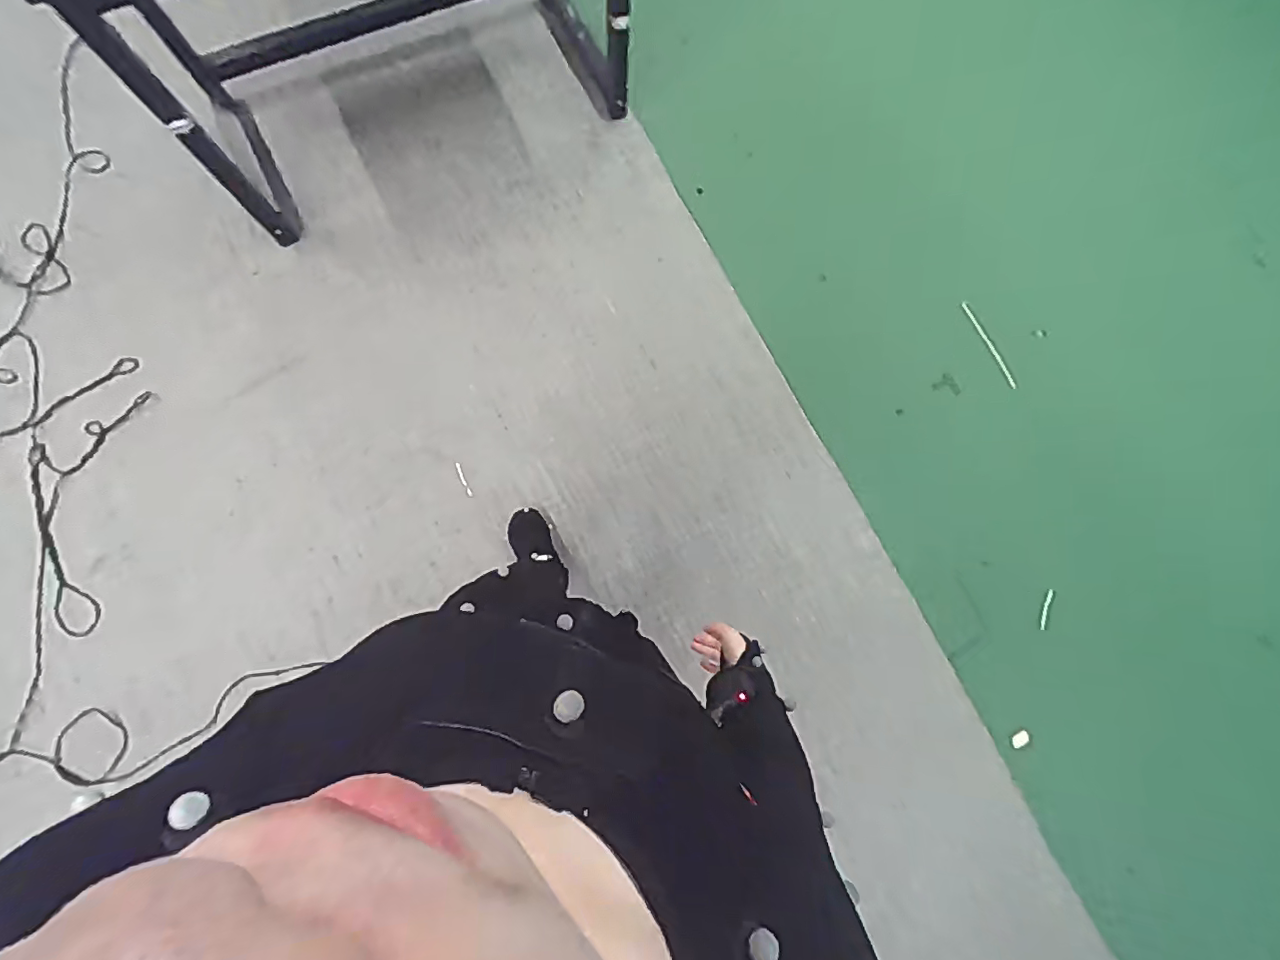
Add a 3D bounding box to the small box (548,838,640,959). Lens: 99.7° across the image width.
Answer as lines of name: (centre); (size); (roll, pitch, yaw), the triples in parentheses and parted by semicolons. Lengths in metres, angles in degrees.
small box: (-0.107, 1.005, 1.286); (0.168, 0.176, 0.179); (-19, 80, -7)
